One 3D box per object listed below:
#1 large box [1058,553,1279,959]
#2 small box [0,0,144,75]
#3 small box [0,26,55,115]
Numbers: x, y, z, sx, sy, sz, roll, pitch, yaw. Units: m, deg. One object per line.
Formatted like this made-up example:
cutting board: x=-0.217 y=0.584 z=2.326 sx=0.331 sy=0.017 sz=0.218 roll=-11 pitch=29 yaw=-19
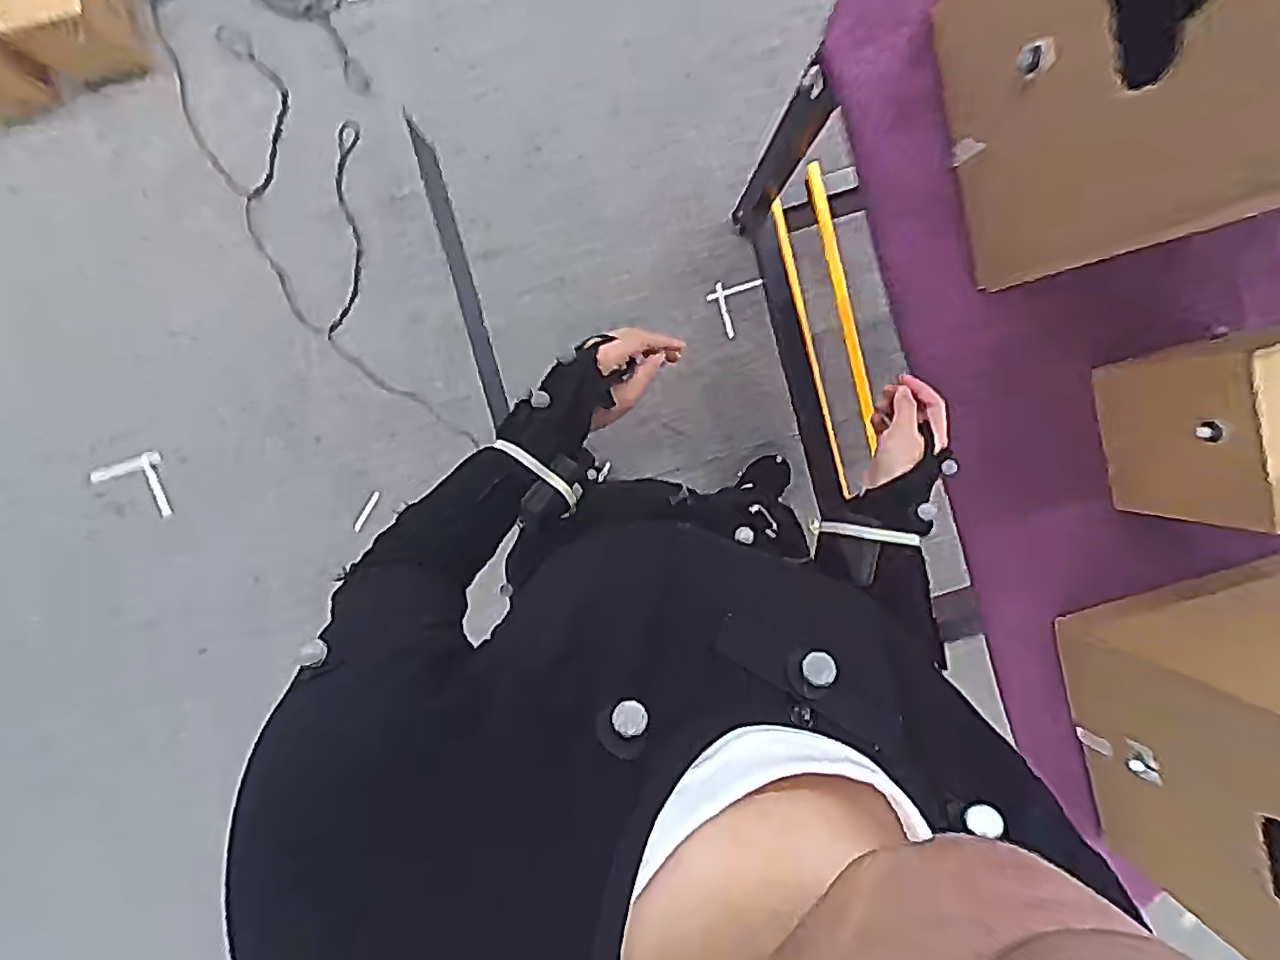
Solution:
large box: x=0.744 y=0.274 z=0.532 sx=0.408 sy=0.320 sz=0.320 roll=-16 pitch=96 yaw=-2
small box: x=-1.204 y=-1.002 z=1.135 sx=0.179 sy=0.176 sz=0.168 roll=-14 pitch=95 yaw=0
small box: x=-1.424 y=-0.923 z=1.139 sx=0.168 sy=0.176 sz=0.179 roll=-22 pitch=96 yaw=1
